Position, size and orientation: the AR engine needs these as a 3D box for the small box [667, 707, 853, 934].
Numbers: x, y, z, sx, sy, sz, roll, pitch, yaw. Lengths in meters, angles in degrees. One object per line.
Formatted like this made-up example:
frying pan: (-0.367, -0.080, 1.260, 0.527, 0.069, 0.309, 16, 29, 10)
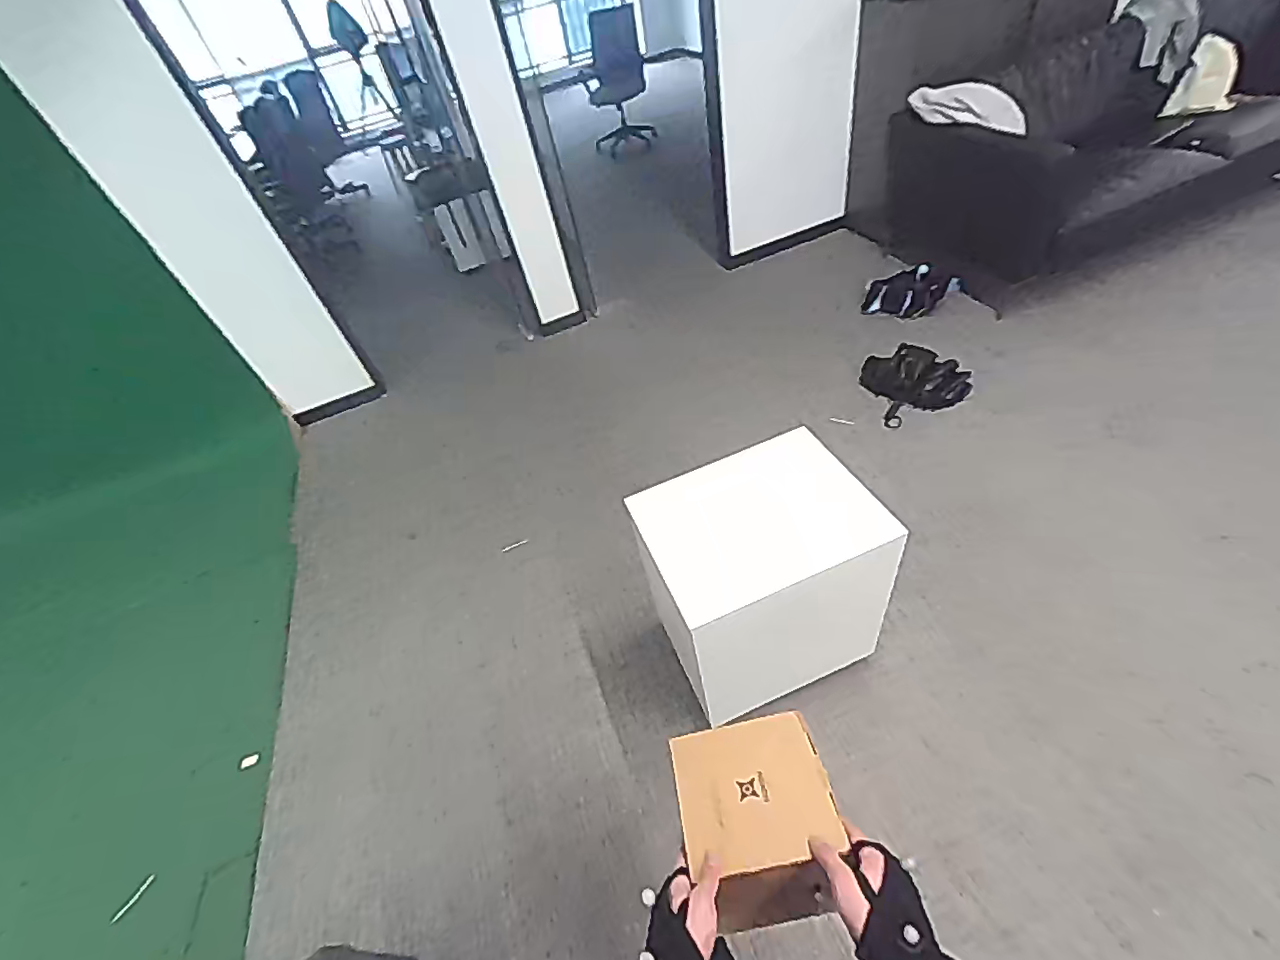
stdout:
small box: (0.142, 0.415, 0.662, 0.179, 0.176, 0.168, -14, 32, 2)
